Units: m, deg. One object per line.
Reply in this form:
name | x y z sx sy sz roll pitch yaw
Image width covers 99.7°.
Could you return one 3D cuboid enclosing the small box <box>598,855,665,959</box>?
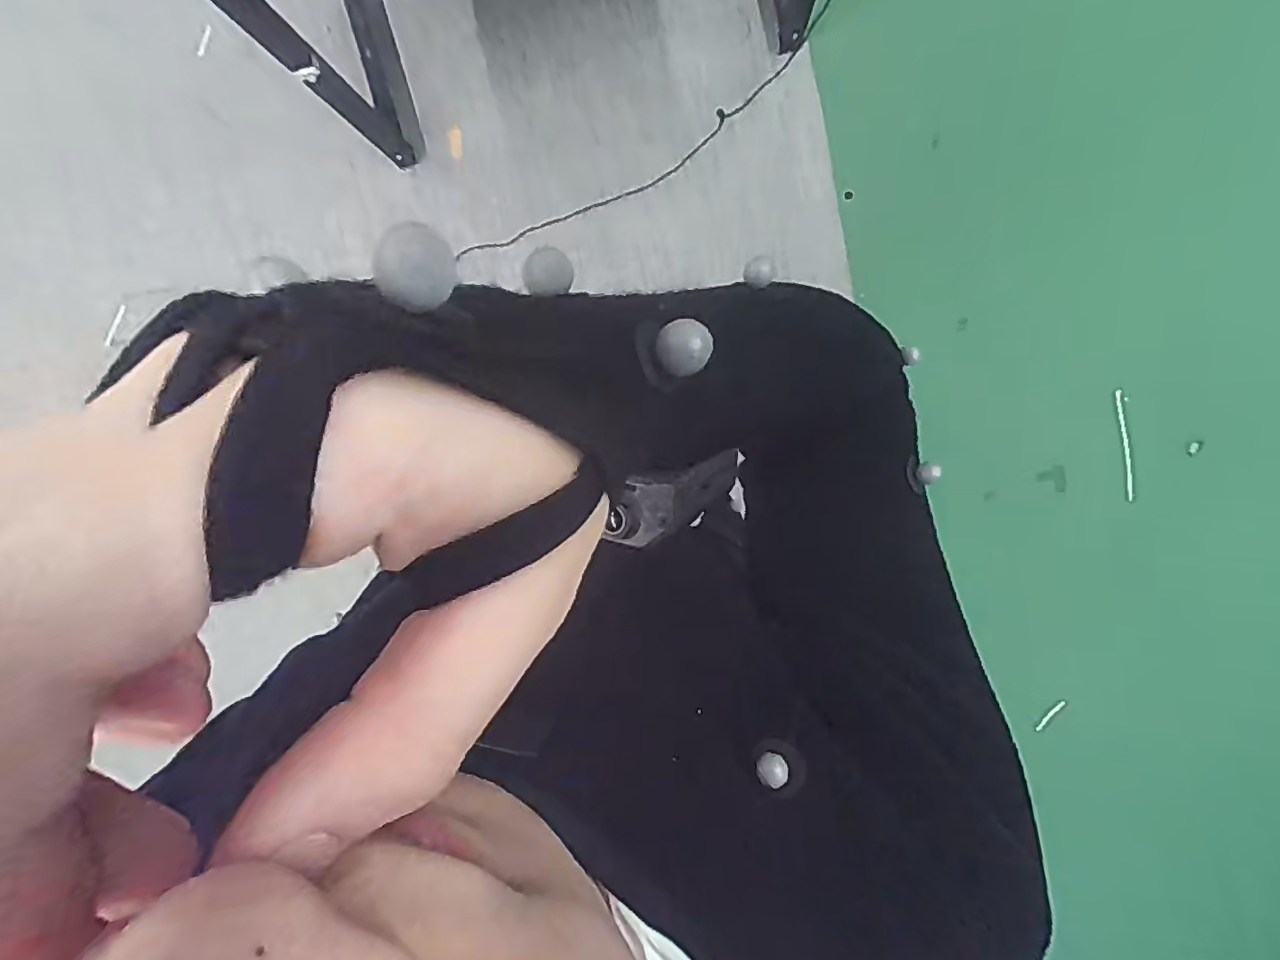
small box | -0.020 1.272 1.617 0.168 0.176 0.179 -11 94 3
